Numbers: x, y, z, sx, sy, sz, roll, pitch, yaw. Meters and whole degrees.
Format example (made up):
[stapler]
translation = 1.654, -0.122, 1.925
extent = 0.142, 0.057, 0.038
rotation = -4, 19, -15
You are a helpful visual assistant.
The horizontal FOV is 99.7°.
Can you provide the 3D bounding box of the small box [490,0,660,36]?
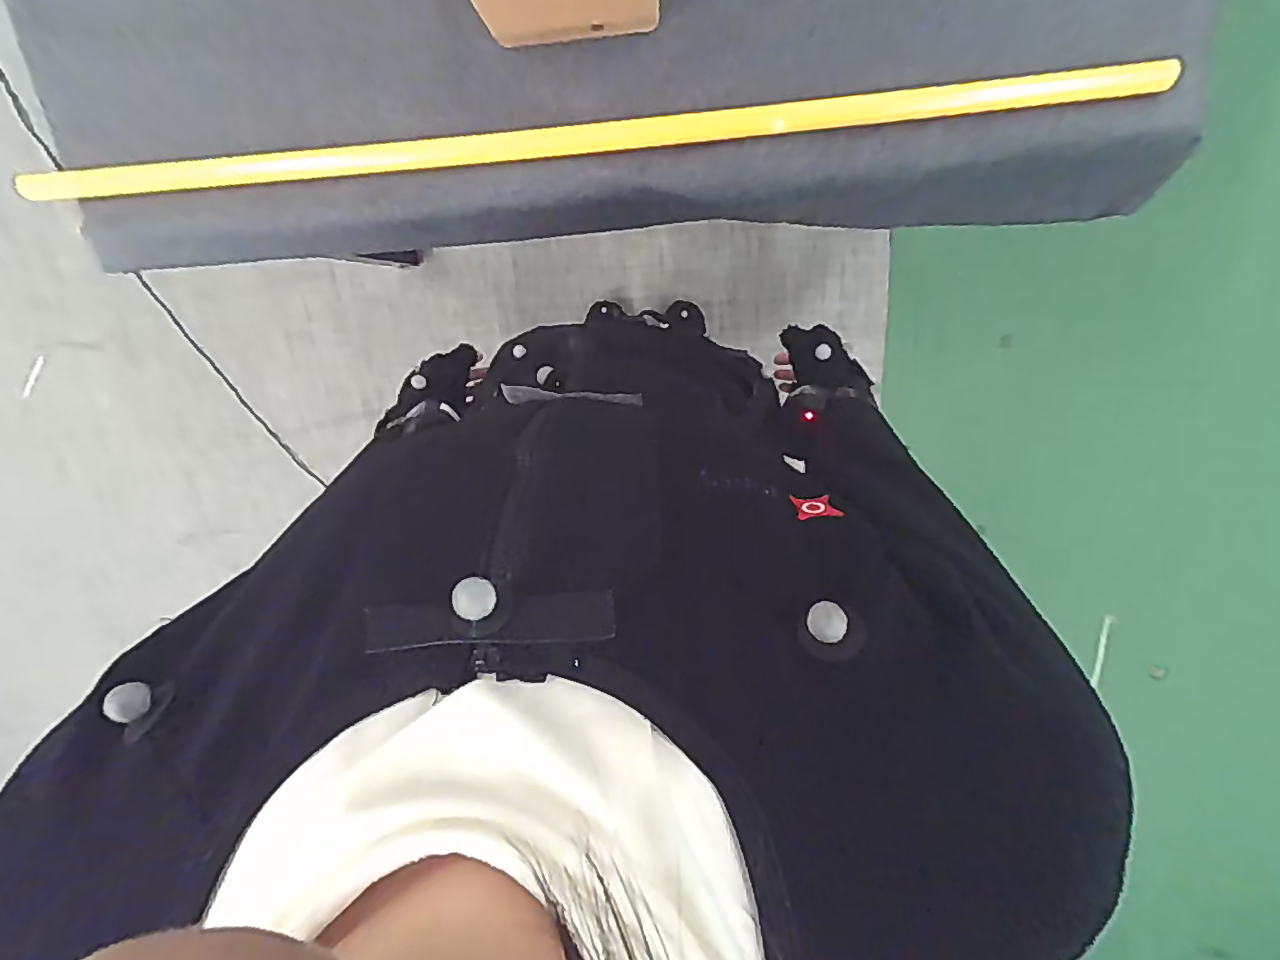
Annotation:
[small box]
translation = -0.071, -0.518, 0.448
extent = 0.168, 0.176, 0.179
rotation = -3, 107, 5
